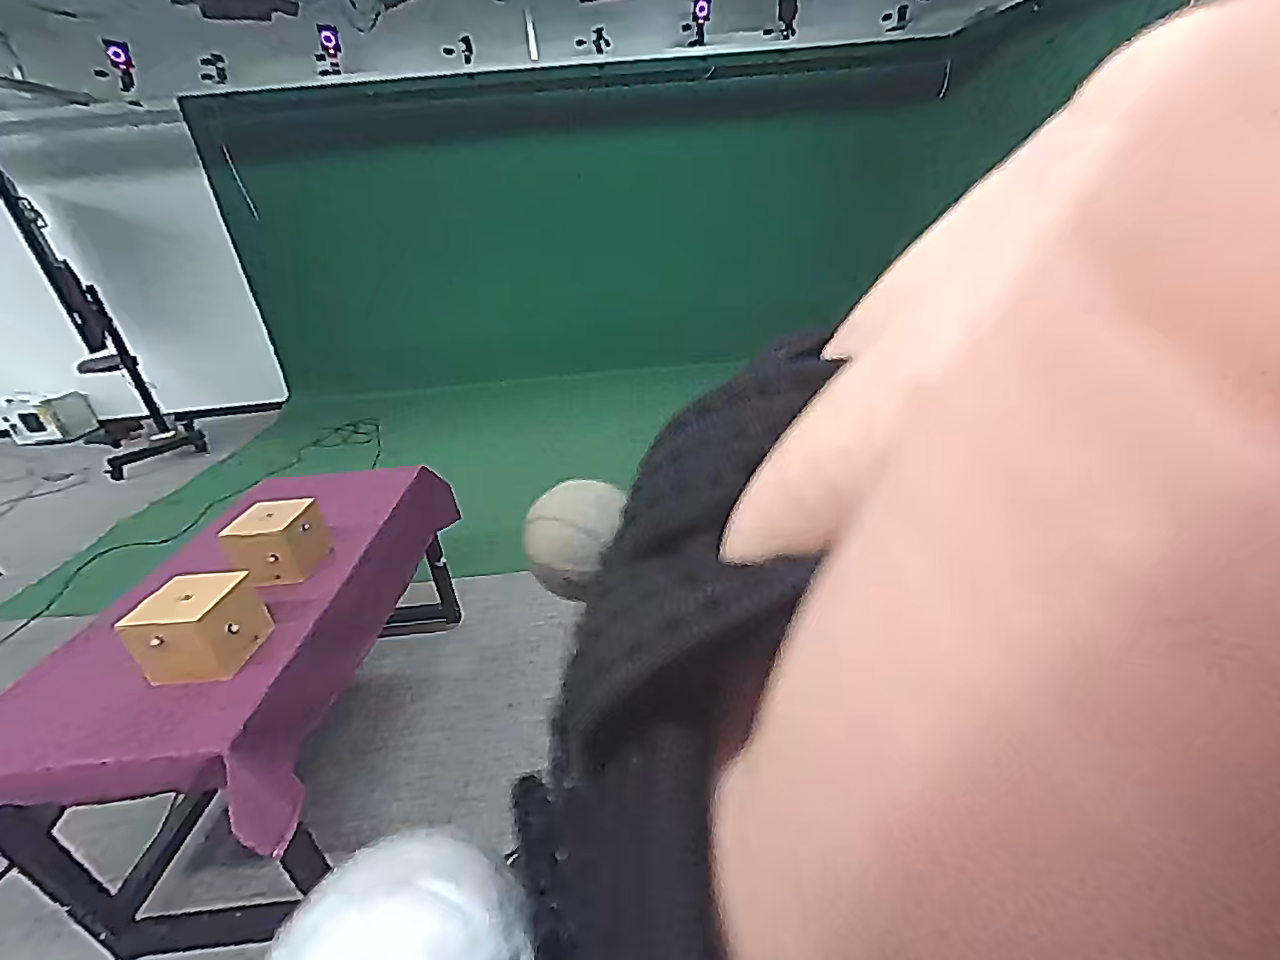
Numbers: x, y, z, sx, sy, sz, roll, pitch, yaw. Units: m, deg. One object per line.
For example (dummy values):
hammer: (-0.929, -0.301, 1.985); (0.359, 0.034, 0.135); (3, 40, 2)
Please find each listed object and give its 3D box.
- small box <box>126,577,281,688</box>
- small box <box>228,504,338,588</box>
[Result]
small box: (-0.944, 0.336, 1.193); (0.179, 0.176, 0.168); (-5, 27, 3)
small box: (-0.970, 0.186, 1.490); (0.168, 0.176, 0.179); (-5, 26, 1)
